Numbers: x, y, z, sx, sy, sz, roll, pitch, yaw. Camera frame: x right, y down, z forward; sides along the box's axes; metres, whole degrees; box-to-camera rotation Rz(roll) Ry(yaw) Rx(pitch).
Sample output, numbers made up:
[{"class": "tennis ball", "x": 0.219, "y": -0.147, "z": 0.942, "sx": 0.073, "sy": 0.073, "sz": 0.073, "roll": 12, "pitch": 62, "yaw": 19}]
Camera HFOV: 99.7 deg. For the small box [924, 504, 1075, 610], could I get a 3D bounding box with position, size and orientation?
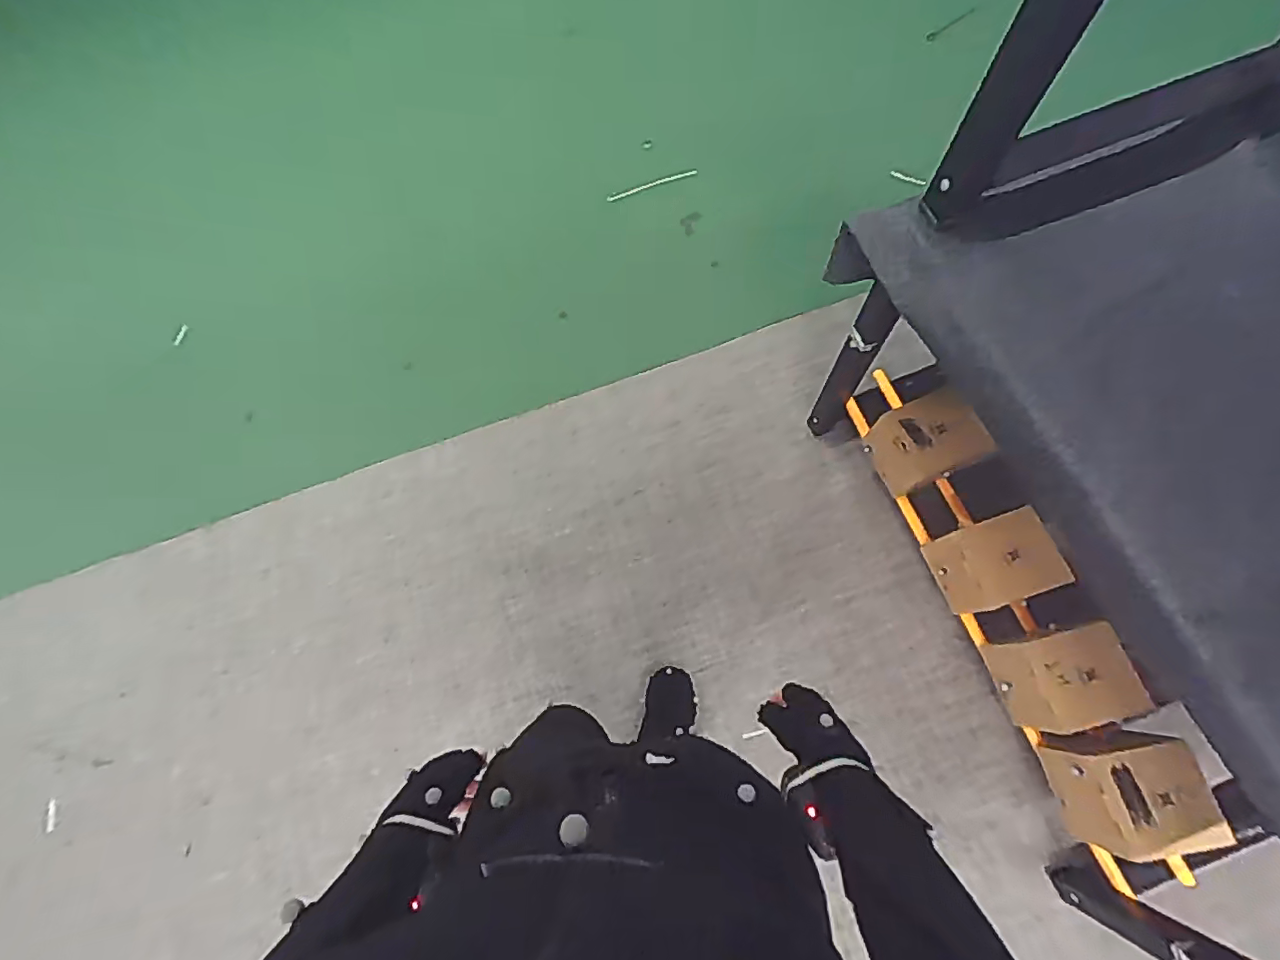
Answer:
[{"class": "small box", "x": 0.751, "y": 0.170, "z": 1.152, "sx": 0.179, "sy": 0.176, "sz": 0.168, "roll": -20, "pitch": 71, "yaw": 1}]
